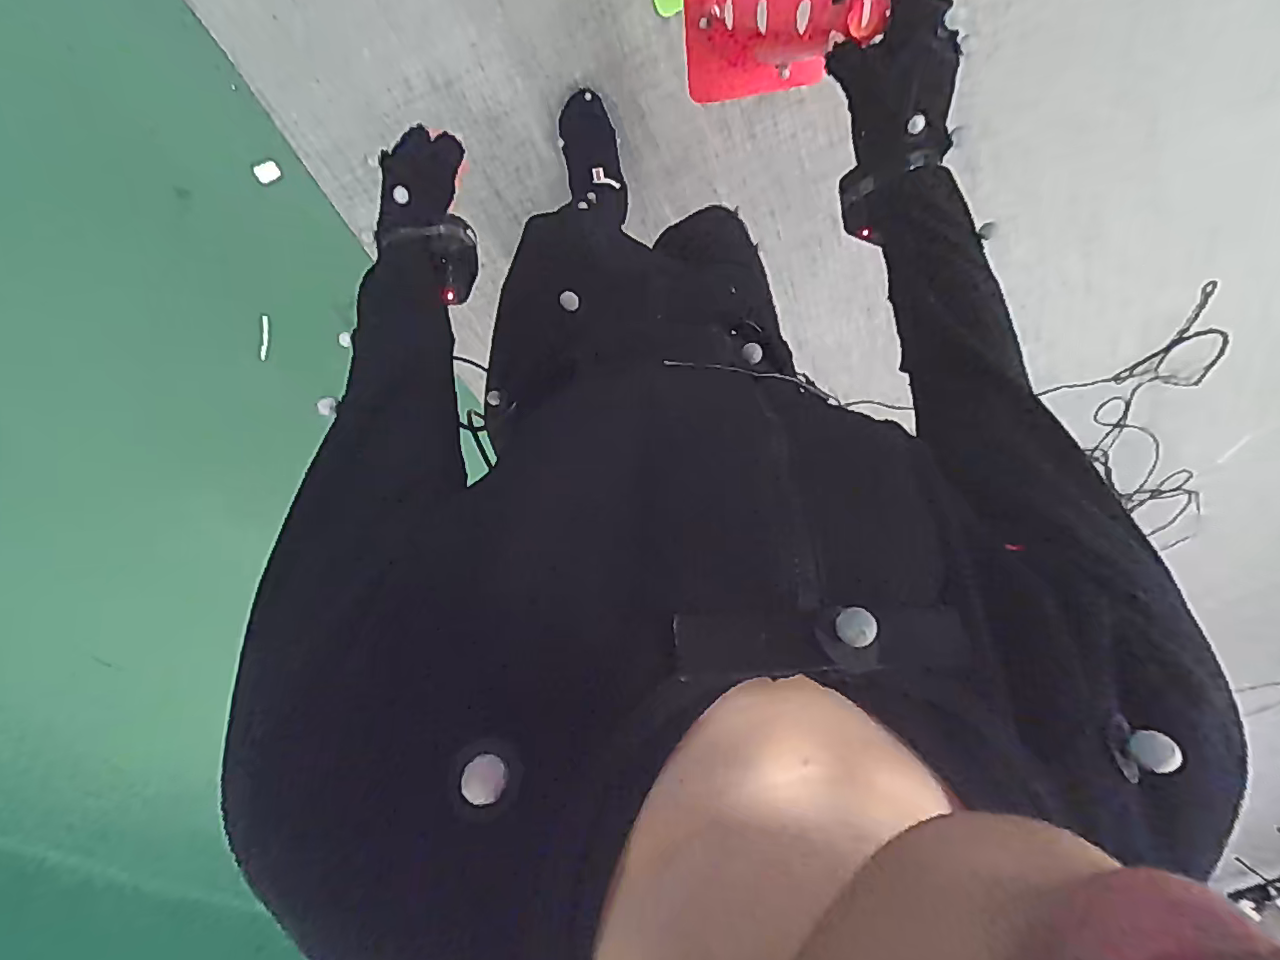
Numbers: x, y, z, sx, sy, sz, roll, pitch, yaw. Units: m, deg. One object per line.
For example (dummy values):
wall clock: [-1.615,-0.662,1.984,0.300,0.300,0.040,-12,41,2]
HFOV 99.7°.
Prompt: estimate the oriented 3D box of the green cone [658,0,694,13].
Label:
green cone: [0.113,-0.870,0.802,0.202,0.368,0.200,-25,127,10]
